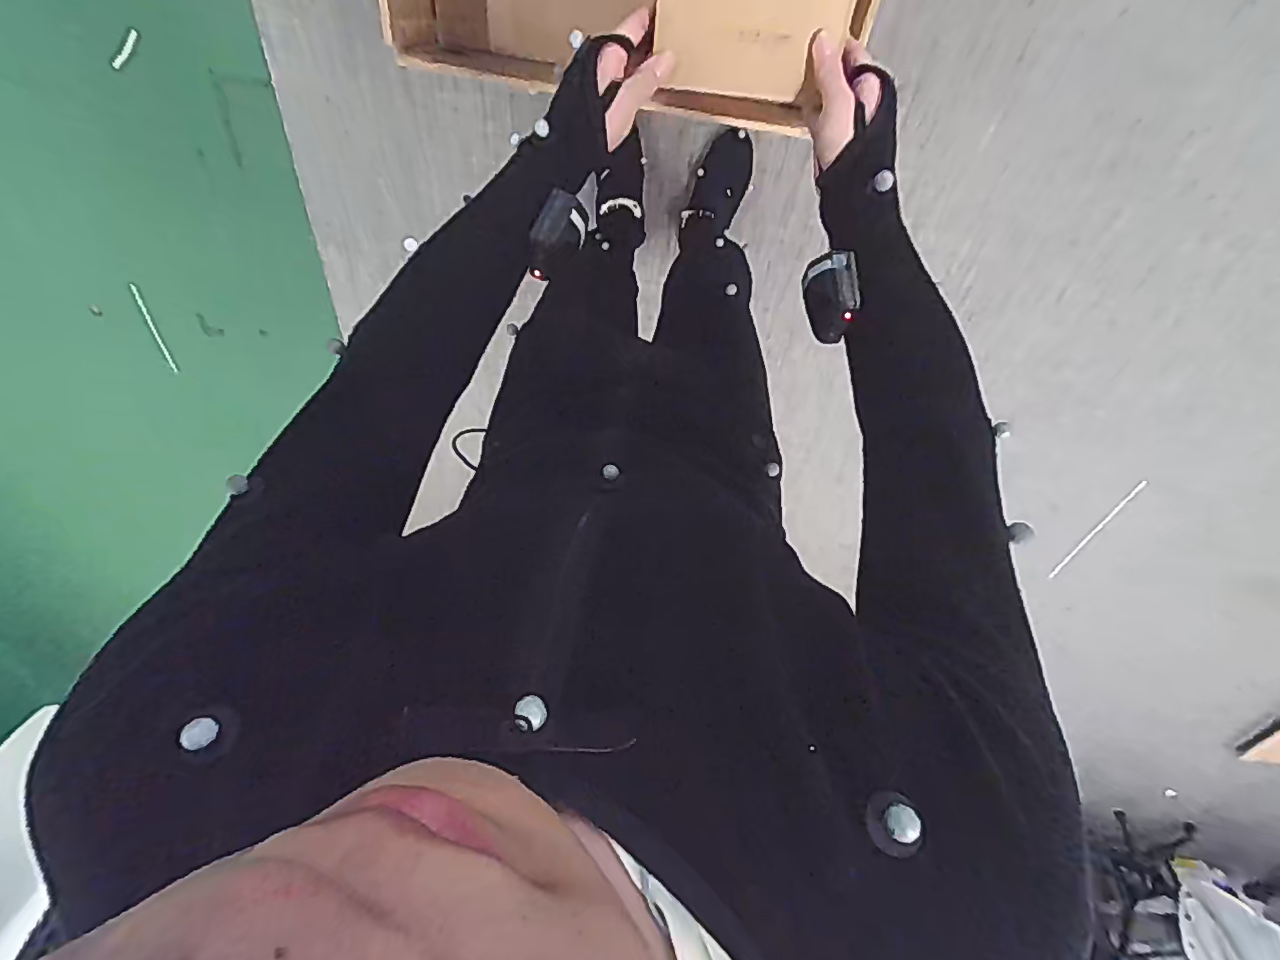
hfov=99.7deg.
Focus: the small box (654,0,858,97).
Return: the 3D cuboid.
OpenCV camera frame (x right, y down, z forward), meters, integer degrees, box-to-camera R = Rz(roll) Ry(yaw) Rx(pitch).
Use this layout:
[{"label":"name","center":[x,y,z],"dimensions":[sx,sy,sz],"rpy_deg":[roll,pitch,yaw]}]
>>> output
[{"label":"small box","center":[0.107,-0.475,0.487],"dimensions":[0.168,0.176,0.179],"rpy_deg":[7,135,0]}]
